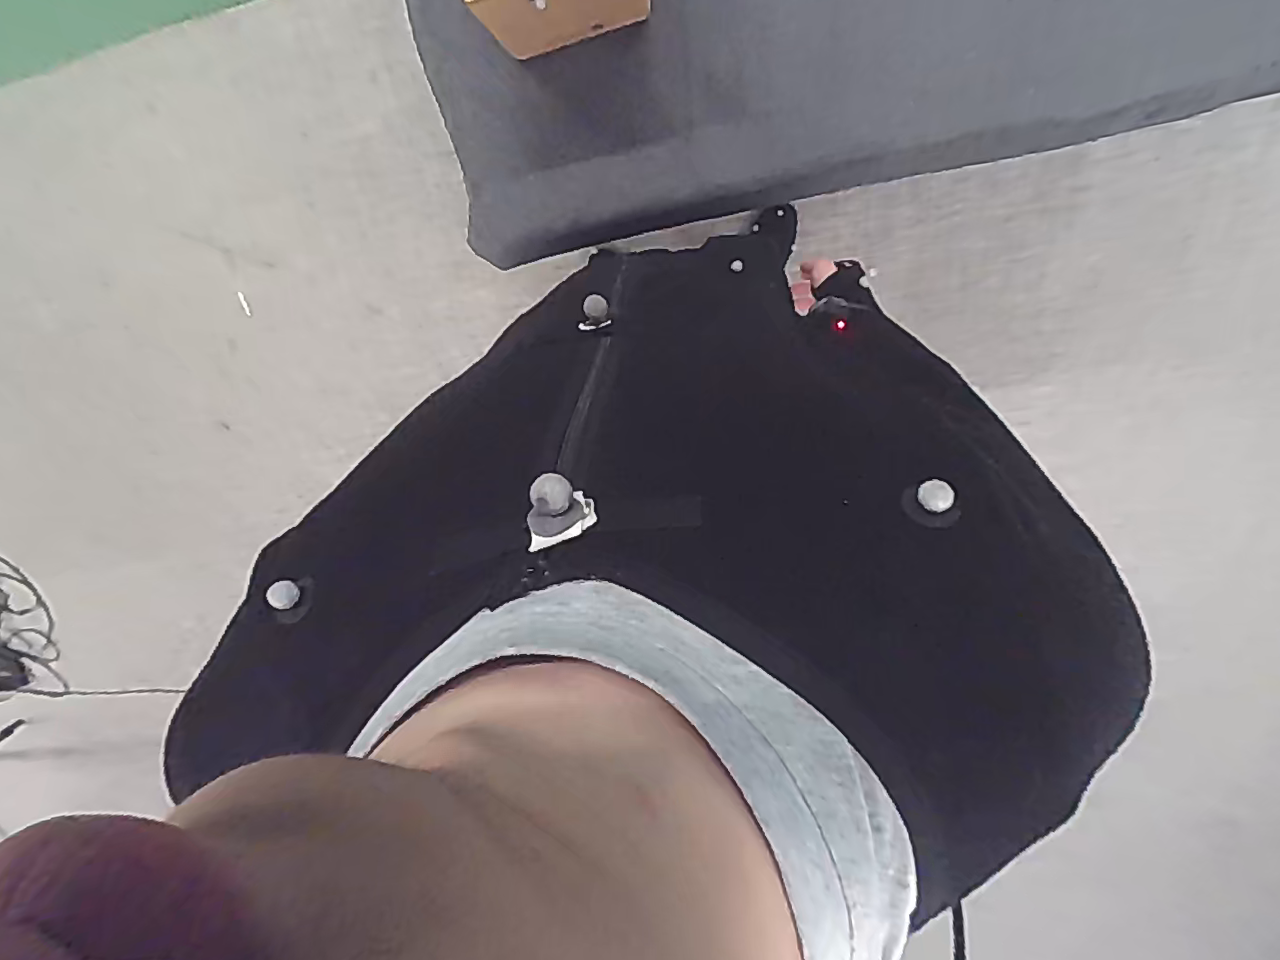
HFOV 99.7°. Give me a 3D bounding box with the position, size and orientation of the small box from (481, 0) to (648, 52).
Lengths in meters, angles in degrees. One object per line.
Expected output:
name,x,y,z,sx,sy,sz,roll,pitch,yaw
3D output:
small box,-0.092,-0.557,0.514,0.168,0.176,0.179,-10,112,10
